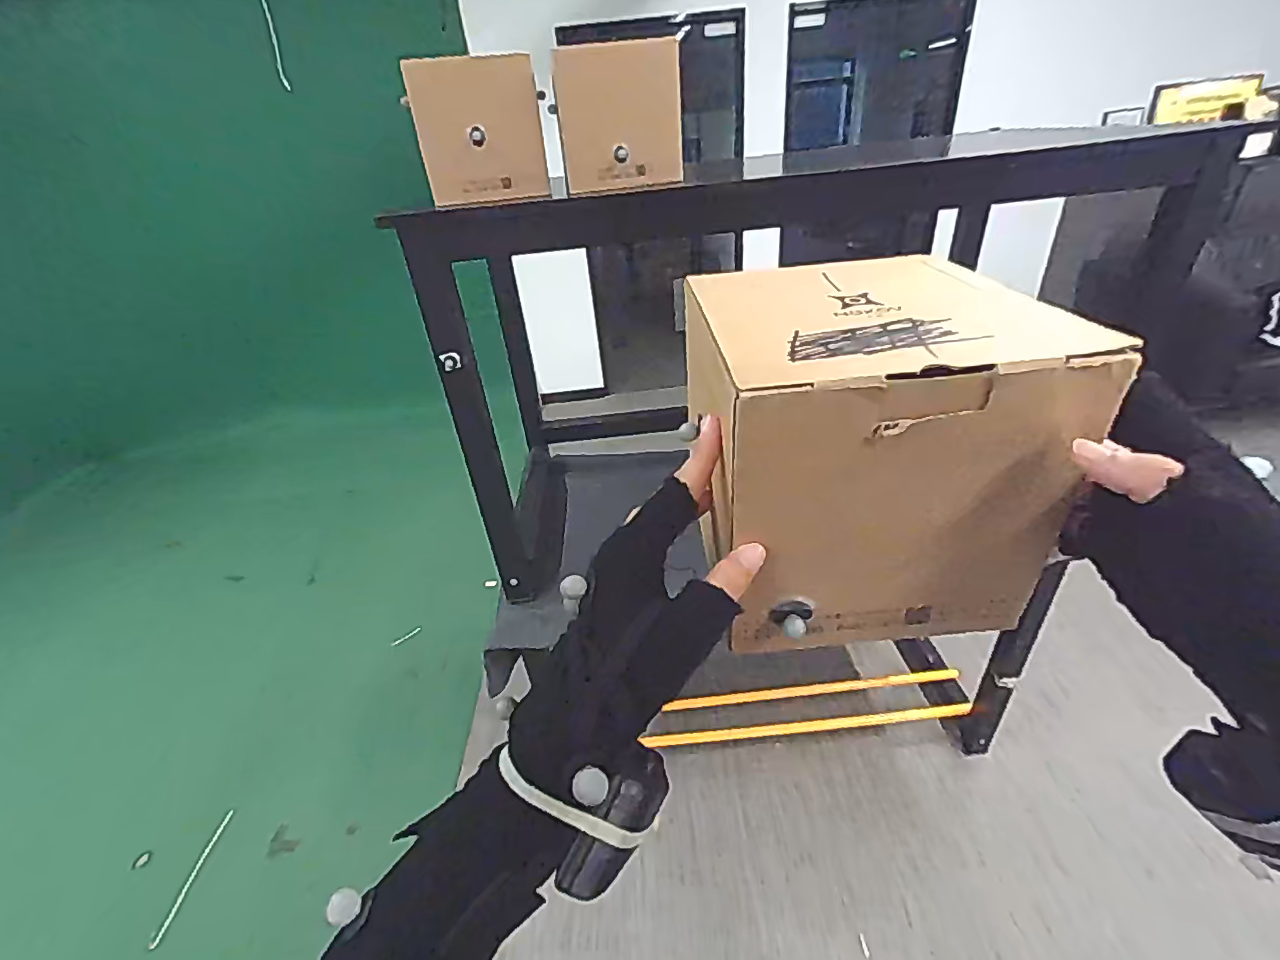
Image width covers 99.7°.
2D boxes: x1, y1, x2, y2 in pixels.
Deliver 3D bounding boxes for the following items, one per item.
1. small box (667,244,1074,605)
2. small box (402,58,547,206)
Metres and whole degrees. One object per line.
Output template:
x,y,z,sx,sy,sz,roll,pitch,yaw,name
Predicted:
0.109,-0.036,0.342,0.168,0.176,0.179,-5,33,1,small box
-0.236,-0.516,0.817,0.168,0.176,0.179,-8,31,-7,small box
